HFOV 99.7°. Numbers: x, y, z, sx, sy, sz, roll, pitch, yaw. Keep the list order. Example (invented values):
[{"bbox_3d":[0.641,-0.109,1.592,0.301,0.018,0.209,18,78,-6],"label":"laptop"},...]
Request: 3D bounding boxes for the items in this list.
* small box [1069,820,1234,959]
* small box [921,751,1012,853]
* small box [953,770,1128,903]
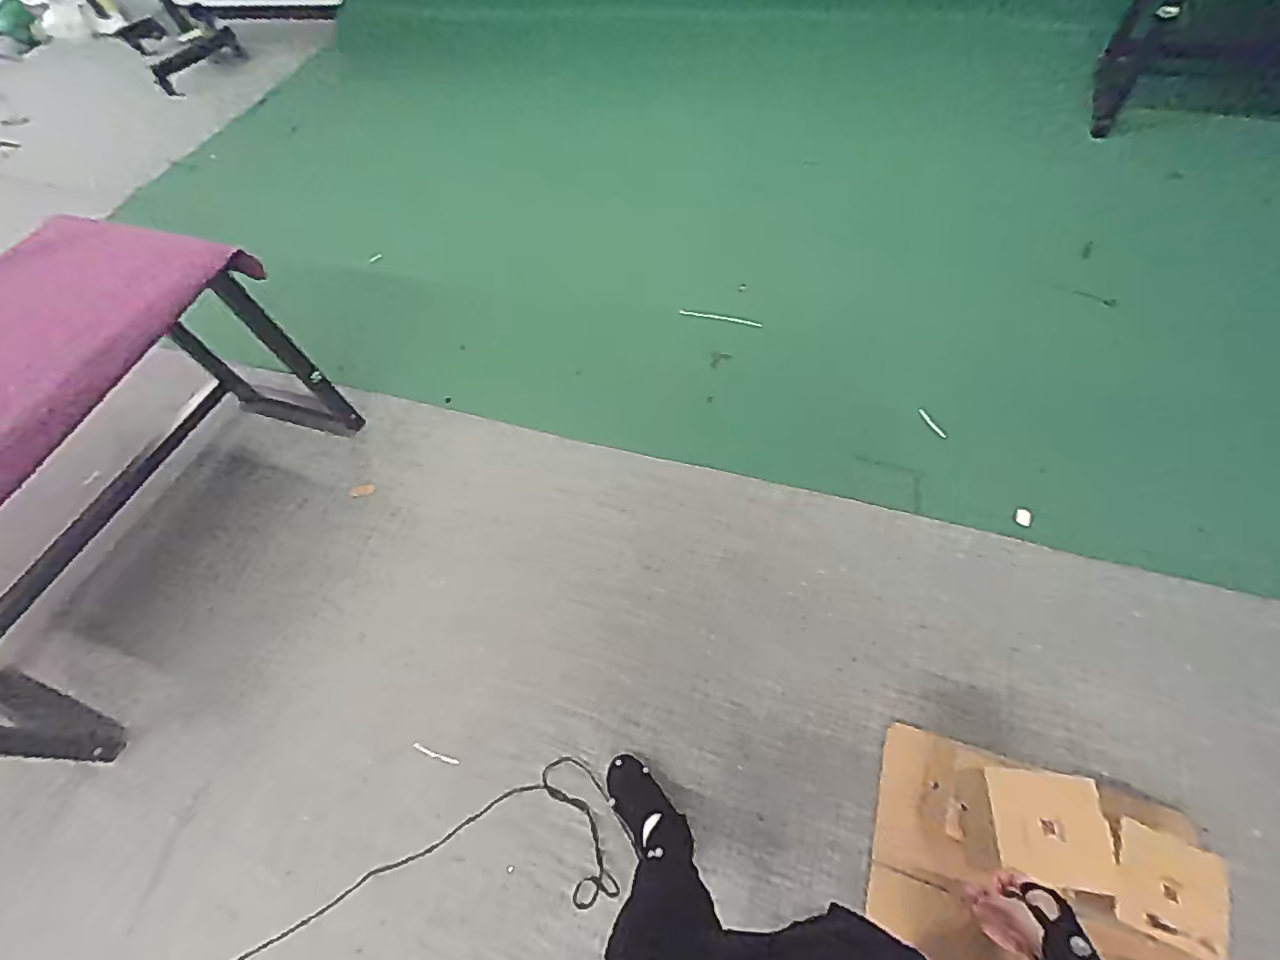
[{"bbox_3d":[0.950,0.771,1.019,0.168,0.176,0.179,20,63,17],"label":"small box"},{"bbox_3d":[0.702,0.681,1.105,0.179,0.176,0.168,19,65,17],"label":"small box"},{"bbox_3d":[0.687,0.618,0.953,0.179,0.176,0.168,3,60,9],"label":"small box"}]
